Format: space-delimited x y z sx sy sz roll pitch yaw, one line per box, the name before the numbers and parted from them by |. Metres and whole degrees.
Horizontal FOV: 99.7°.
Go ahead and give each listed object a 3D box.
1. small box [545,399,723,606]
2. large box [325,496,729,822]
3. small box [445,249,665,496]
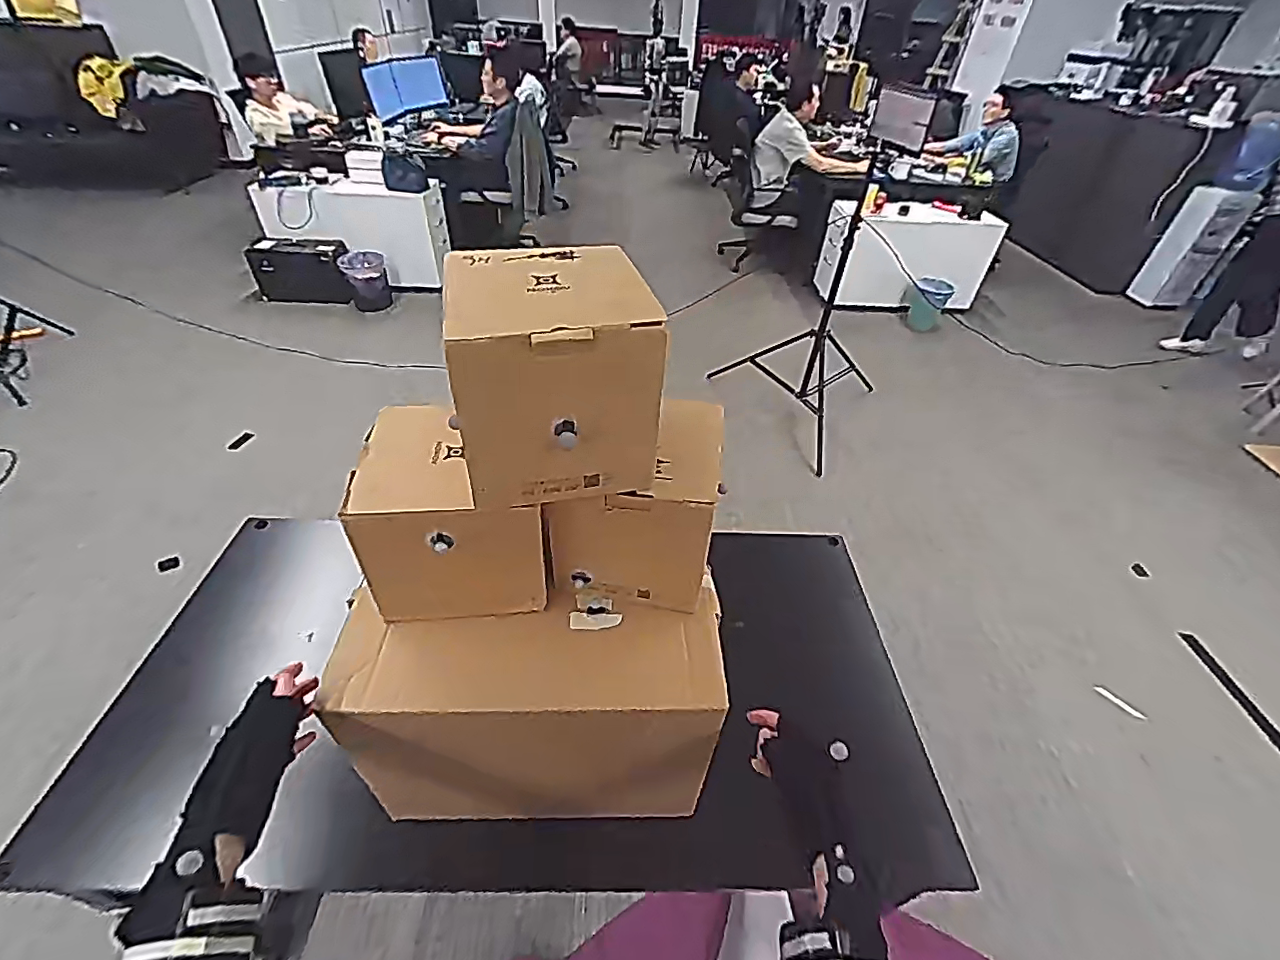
small box | 0.000 0.020 0.624 0.168 0.176 0.179 8 40 5
large box | -0.125 0.236 0.737 0.408 0.320 0.320 1 41 -5
small box | -0.081 -0.099 0.506 0.168 0.176 0.179 -7 43 -13
